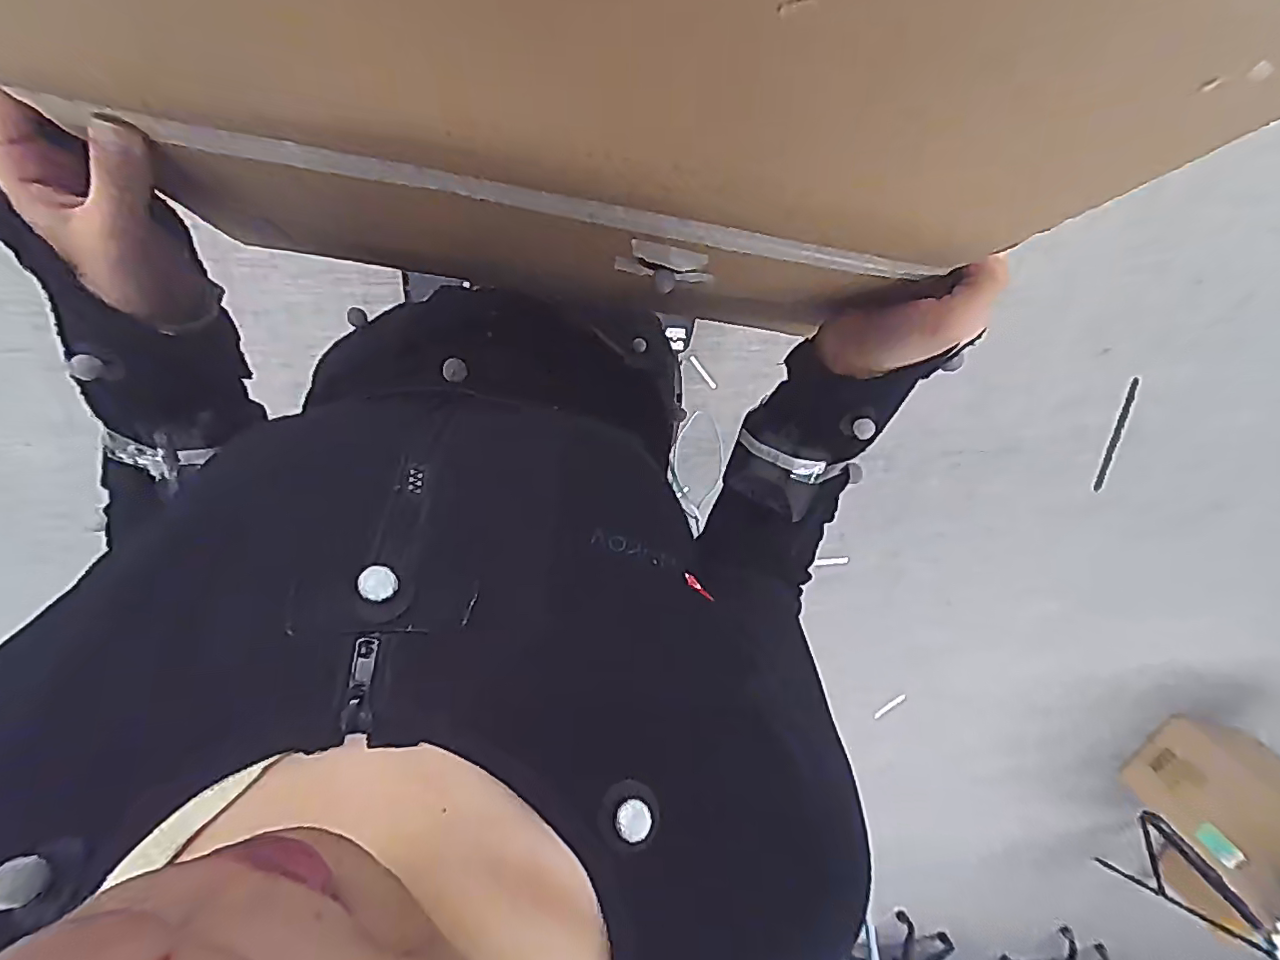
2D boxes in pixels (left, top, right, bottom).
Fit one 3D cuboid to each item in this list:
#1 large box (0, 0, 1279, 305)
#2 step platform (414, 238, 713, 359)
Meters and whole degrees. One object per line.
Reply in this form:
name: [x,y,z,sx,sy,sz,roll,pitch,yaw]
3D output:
large box: [-0.012,-0.288,0.207,0.408,0.320,0.320,6,93,-8]
step platform: [-0.168,-0.471,1.286,0.684,0.204,0.286,4,114,-10]
